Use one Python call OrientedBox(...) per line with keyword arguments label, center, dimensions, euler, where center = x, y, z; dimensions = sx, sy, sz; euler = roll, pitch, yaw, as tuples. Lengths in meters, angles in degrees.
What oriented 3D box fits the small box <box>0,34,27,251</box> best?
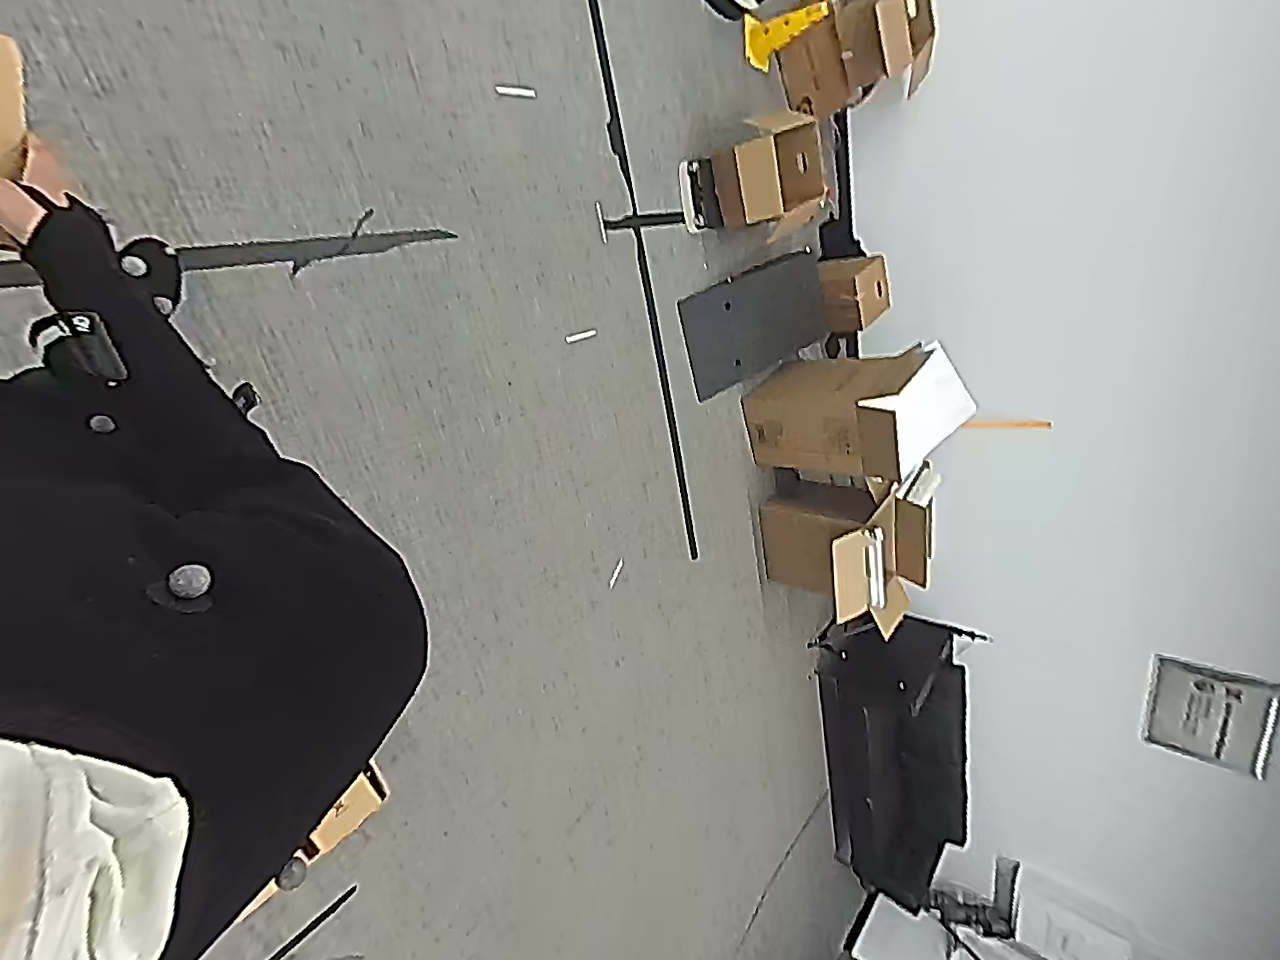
OrientedBox(label="small box", center=(-0.657, -0.307, 0.454), dimensions=(0.168, 0.176, 0.179), euler=(-9, 112, -57))
